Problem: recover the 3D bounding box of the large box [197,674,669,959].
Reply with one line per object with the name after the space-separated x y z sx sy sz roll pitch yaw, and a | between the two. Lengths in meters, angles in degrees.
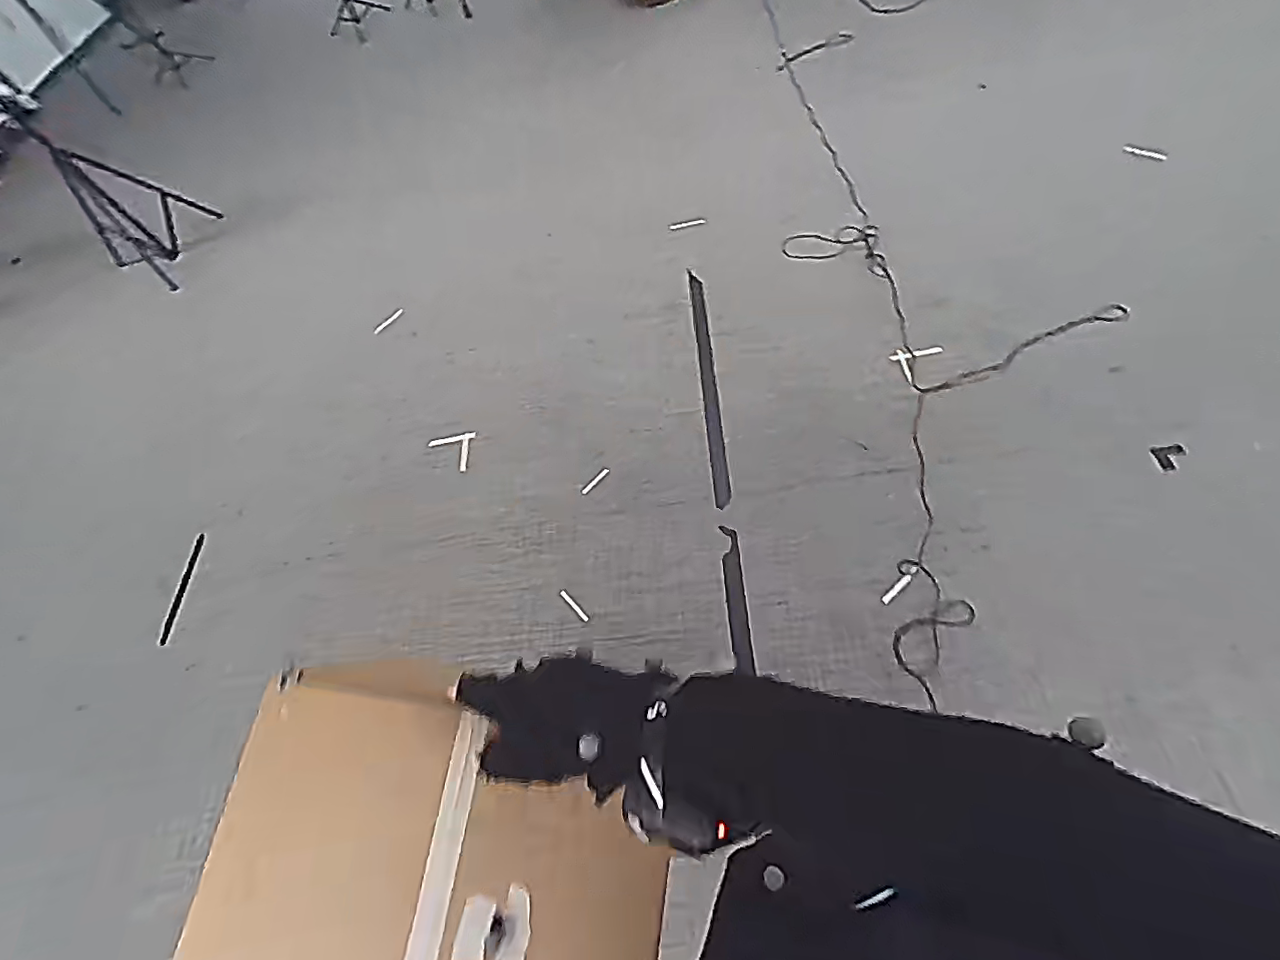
-0.161 0.412 0.501 0.320 0.320 0.408 9 71 -3 | large box
